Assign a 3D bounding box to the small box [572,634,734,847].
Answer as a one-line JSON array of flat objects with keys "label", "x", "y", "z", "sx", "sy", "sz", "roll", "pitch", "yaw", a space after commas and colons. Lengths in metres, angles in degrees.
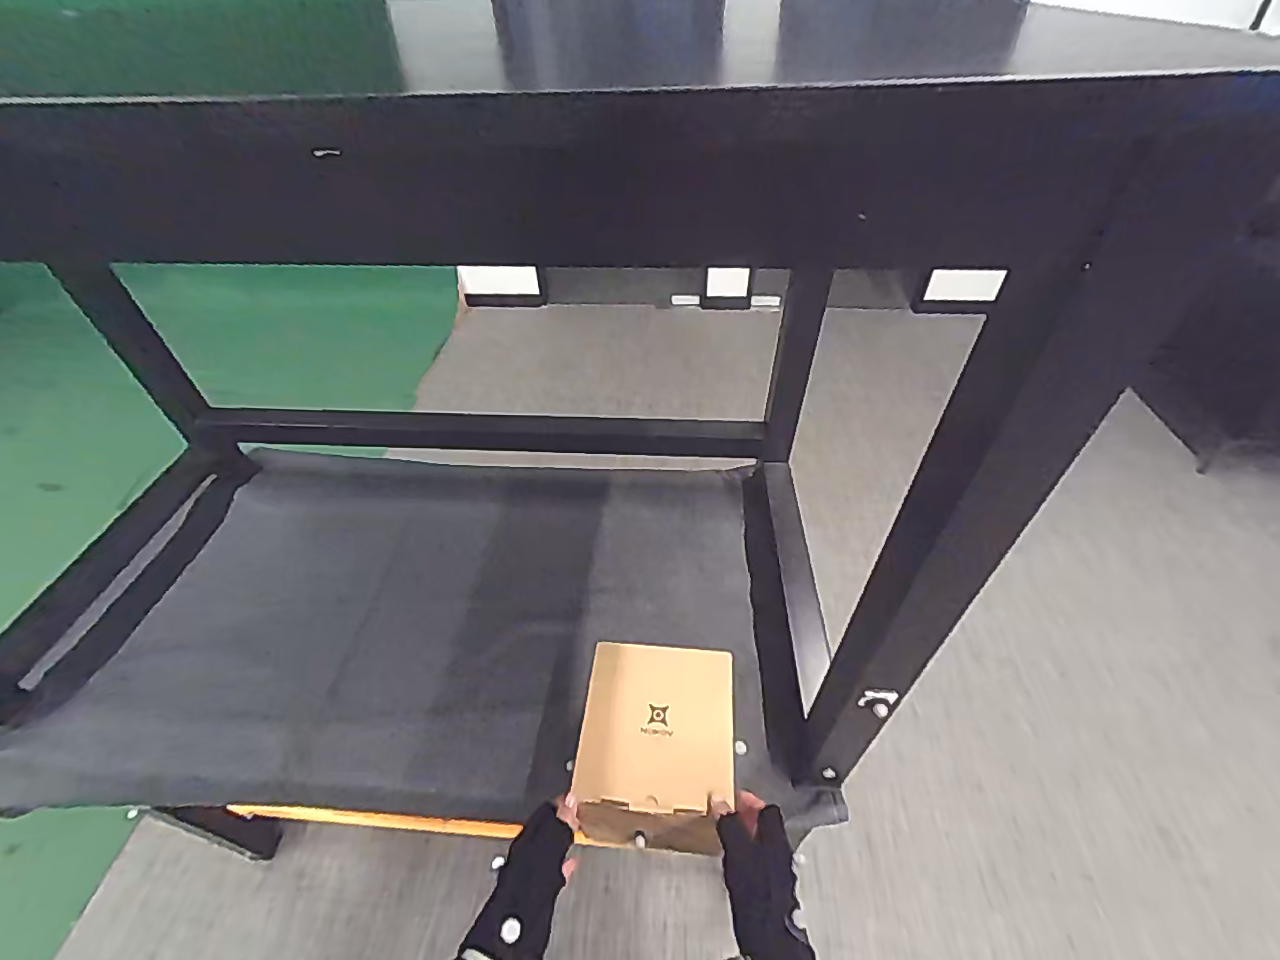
[{"label": "small box", "x": 0.022, "y": 0.311, "z": 0.650, "sx": 0.168, "sy": 0.176, "sz": 0.179, "roll": 3, "pitch": 45, "yaw": 6}]
